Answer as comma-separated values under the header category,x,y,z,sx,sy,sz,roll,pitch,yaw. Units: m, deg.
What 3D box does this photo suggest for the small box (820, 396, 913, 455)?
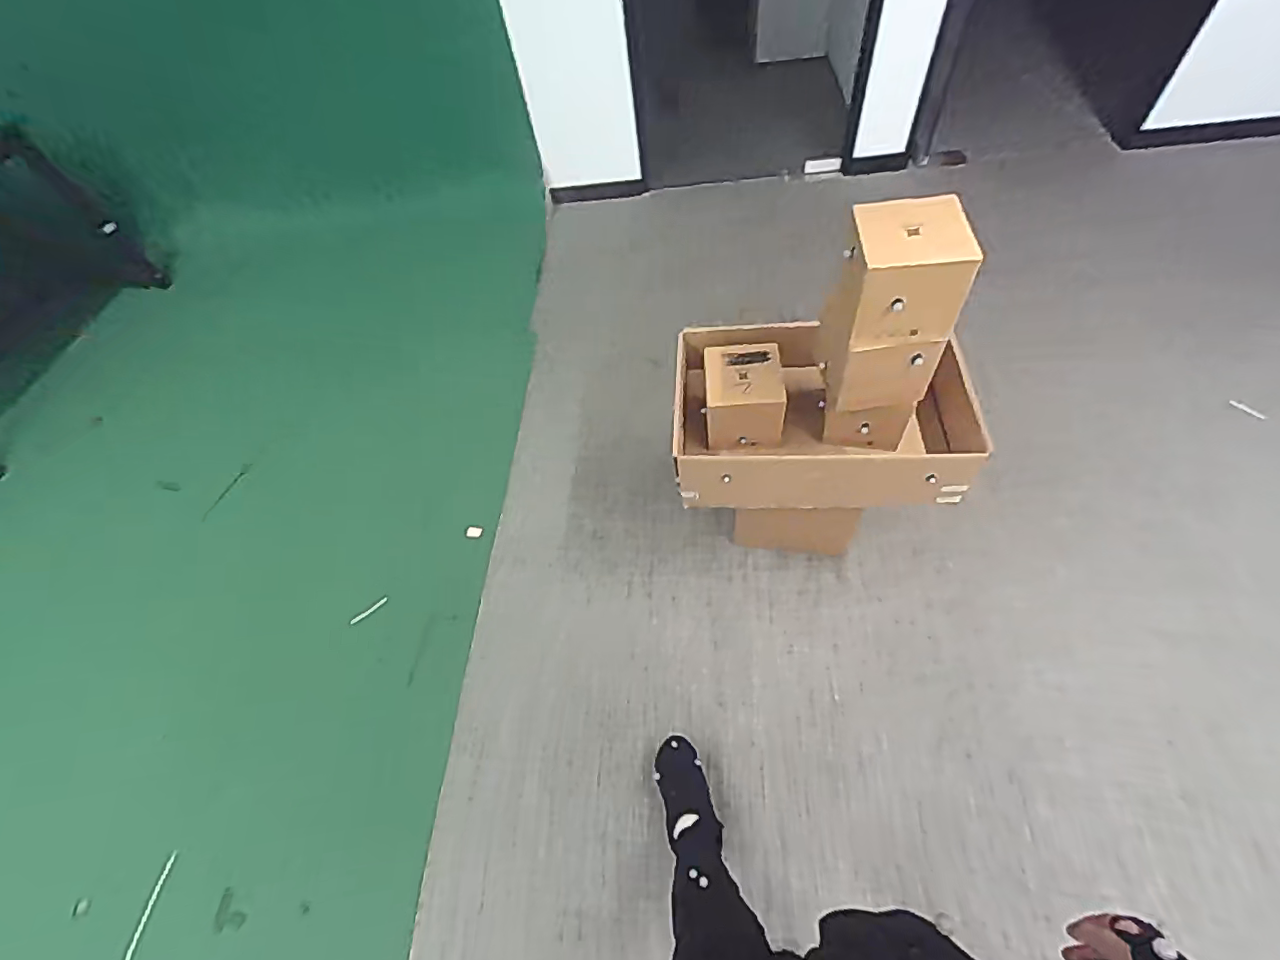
category,x,y,z,sx,sy,sz,roll,pitch,yaw
small box,0.499,-0.176,1.204,0.168,0.176,0.179,8,59,14

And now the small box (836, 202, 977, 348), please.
category,x,y,z,sx,sy,sz,roll,pitch,yaw
small box,0.441,-0.341,0.927,0.168,0.176,0.179,-1,56,9

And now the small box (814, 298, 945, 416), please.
category,x,y,z,sx,sy,sz,roll,pitch,yaw
small box,0.455,-0.246,1.058,0.179,0.176,0.168,-8,55,4
